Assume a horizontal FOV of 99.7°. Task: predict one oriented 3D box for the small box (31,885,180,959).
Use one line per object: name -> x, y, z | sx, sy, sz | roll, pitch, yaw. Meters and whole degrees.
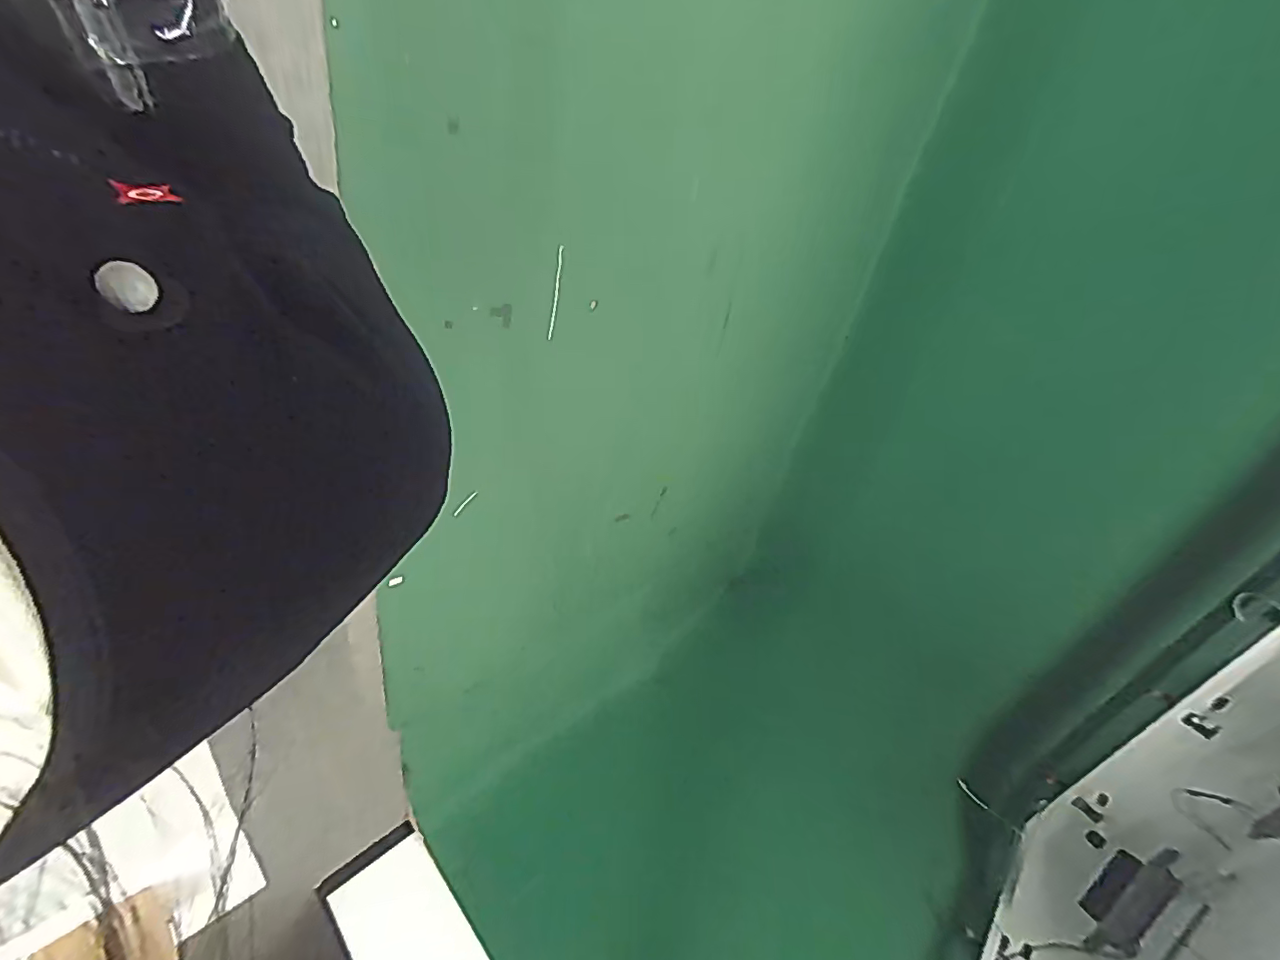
small box -> -1.035, 0.953, 1.059 | 0.179, 0.176, 0.168 | -20, 136, -42
